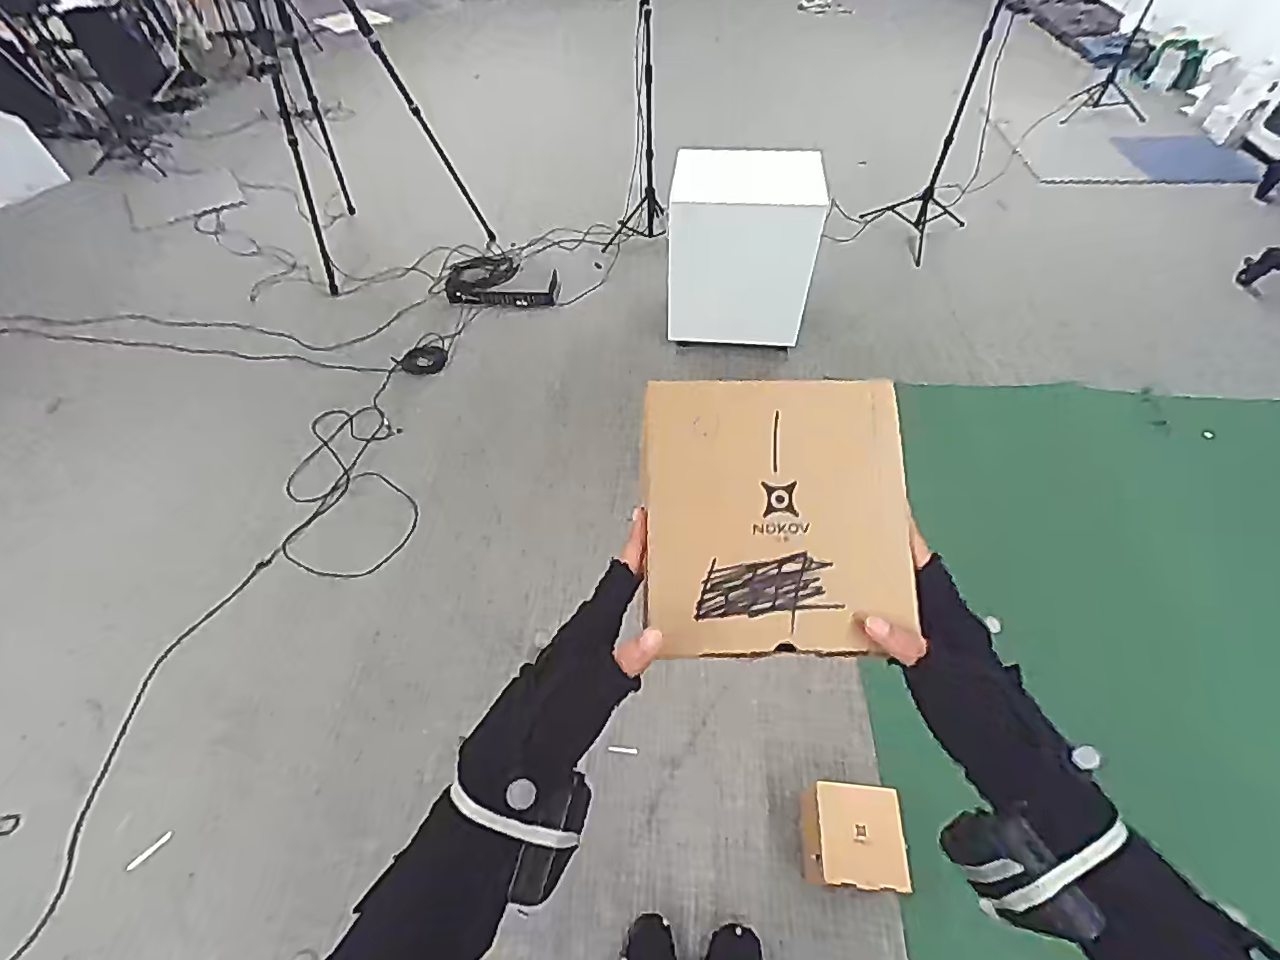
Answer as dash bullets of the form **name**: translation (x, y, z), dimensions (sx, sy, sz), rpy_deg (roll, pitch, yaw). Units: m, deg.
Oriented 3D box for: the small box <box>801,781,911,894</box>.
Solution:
- **small box**: translation (0.445, 0.759, 1.146), dimensions (0.168, 0.176, 0.179), rpy_deg (3, 53, 5)
